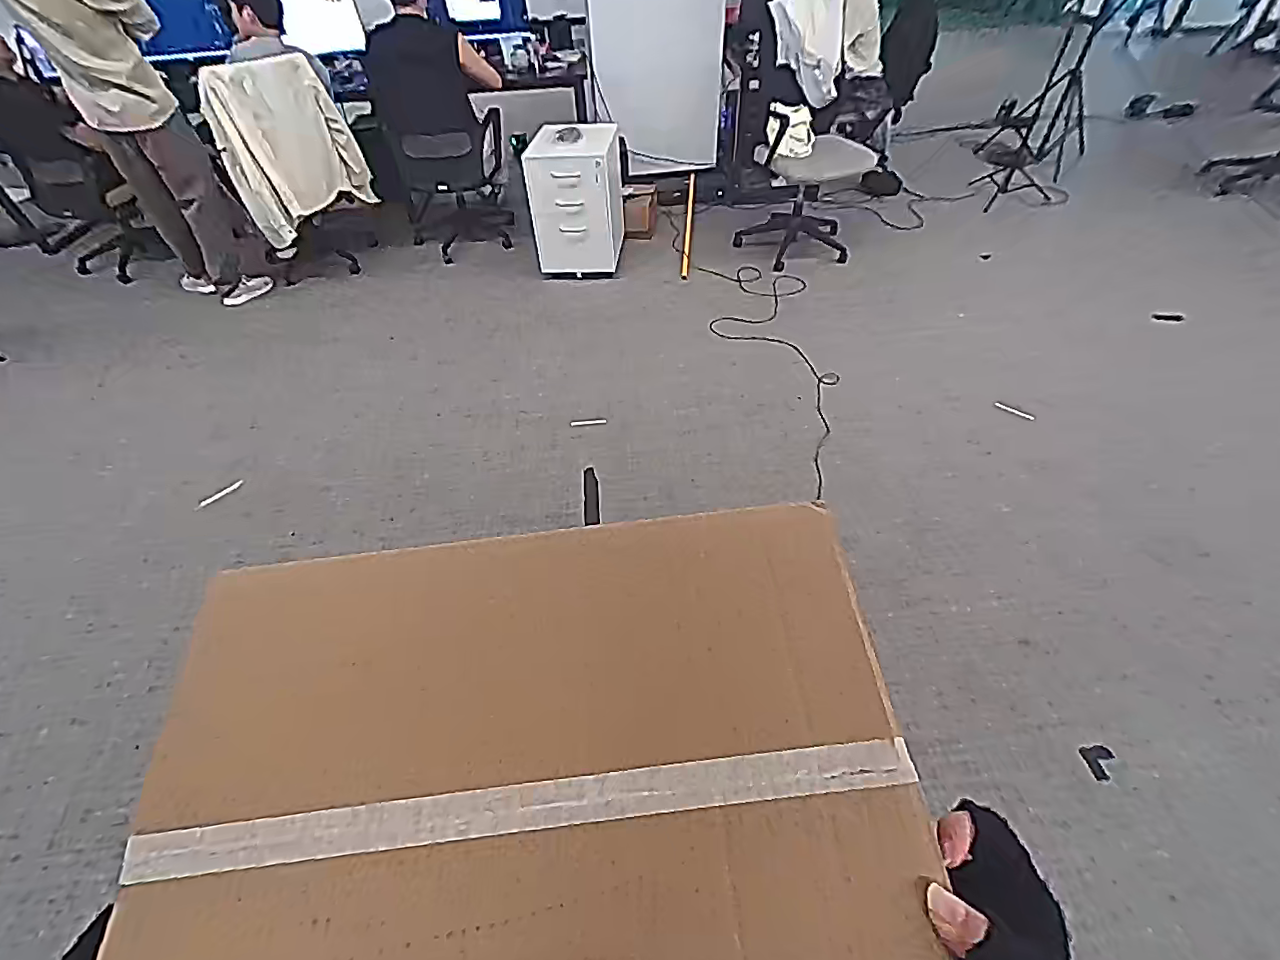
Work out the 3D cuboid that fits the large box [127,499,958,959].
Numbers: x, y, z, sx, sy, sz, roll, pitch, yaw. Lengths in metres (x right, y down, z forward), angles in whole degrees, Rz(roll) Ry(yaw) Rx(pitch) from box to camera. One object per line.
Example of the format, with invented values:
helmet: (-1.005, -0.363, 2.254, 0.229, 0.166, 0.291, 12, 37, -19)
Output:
large box: (-0.053, 0.243, 0.421, 0.408, 0.320, 0.320, -7, 61, -1)
